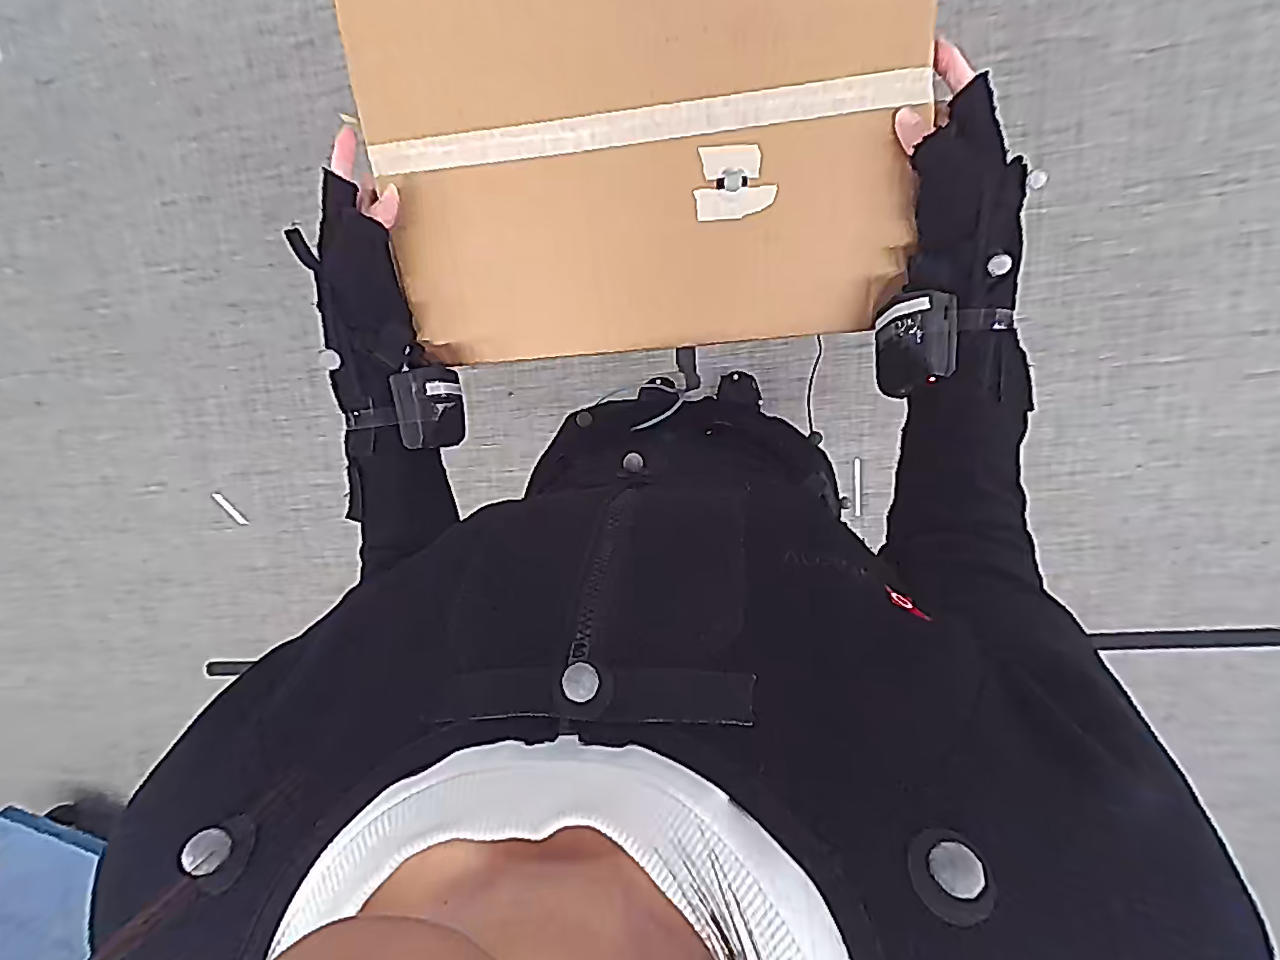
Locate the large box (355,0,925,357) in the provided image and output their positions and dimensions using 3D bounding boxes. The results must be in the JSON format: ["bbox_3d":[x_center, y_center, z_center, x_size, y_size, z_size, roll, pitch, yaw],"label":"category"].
[{"bbox_3d":[0.010,-0.313,0.541,0.408,0.320,0.320,-4,109,5],"label":"large box"}]
